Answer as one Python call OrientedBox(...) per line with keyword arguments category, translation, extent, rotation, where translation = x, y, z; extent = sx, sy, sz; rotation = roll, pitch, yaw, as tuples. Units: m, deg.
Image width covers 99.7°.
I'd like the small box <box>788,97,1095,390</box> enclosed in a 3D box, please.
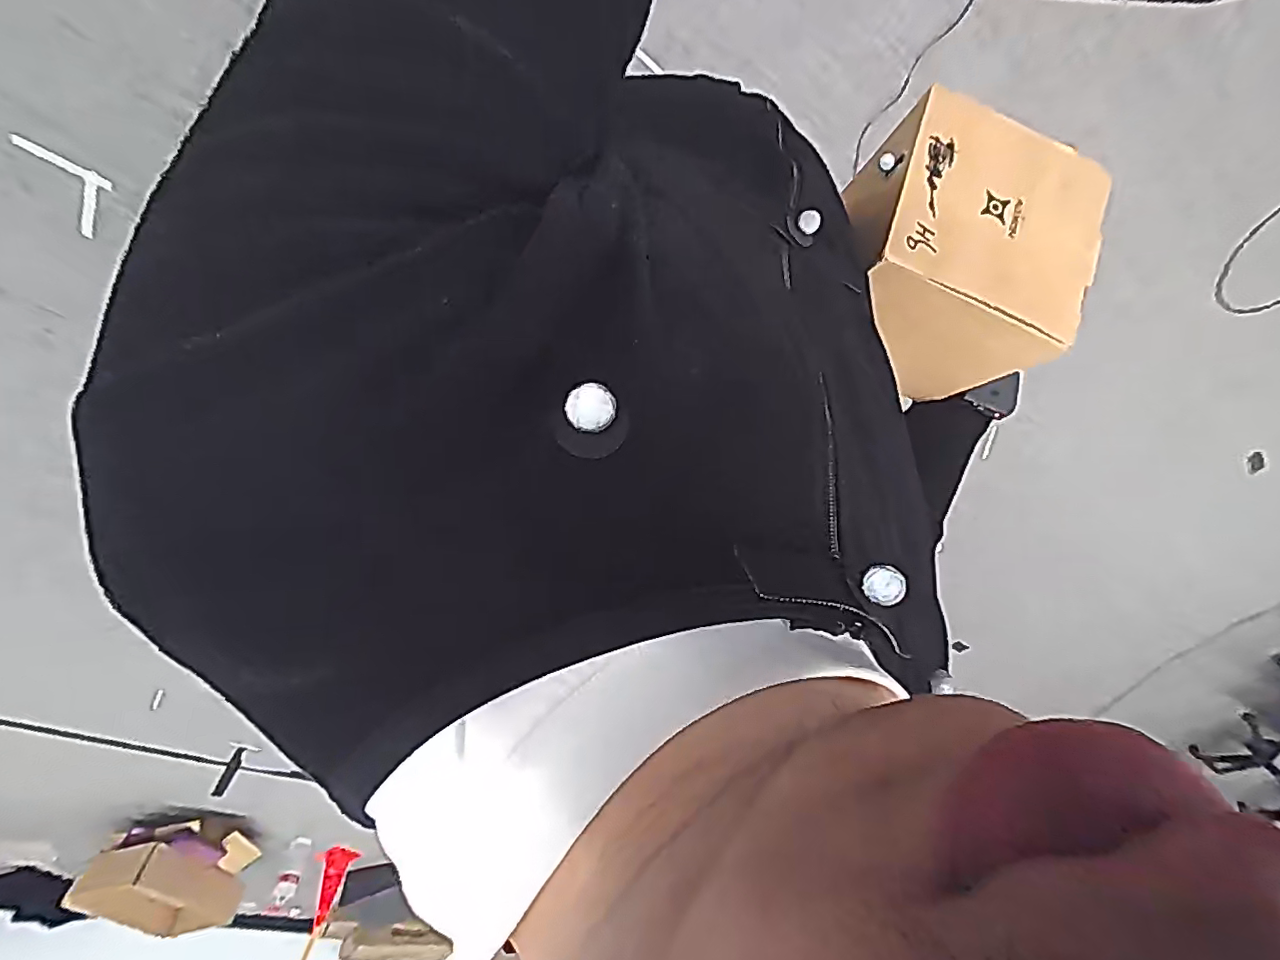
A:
OrientedBox(category="small box", translation=(0.275, -0.203, 0.522), extent=(0.179, 0.176, 0.168), rotation=(21, 79, -8))
